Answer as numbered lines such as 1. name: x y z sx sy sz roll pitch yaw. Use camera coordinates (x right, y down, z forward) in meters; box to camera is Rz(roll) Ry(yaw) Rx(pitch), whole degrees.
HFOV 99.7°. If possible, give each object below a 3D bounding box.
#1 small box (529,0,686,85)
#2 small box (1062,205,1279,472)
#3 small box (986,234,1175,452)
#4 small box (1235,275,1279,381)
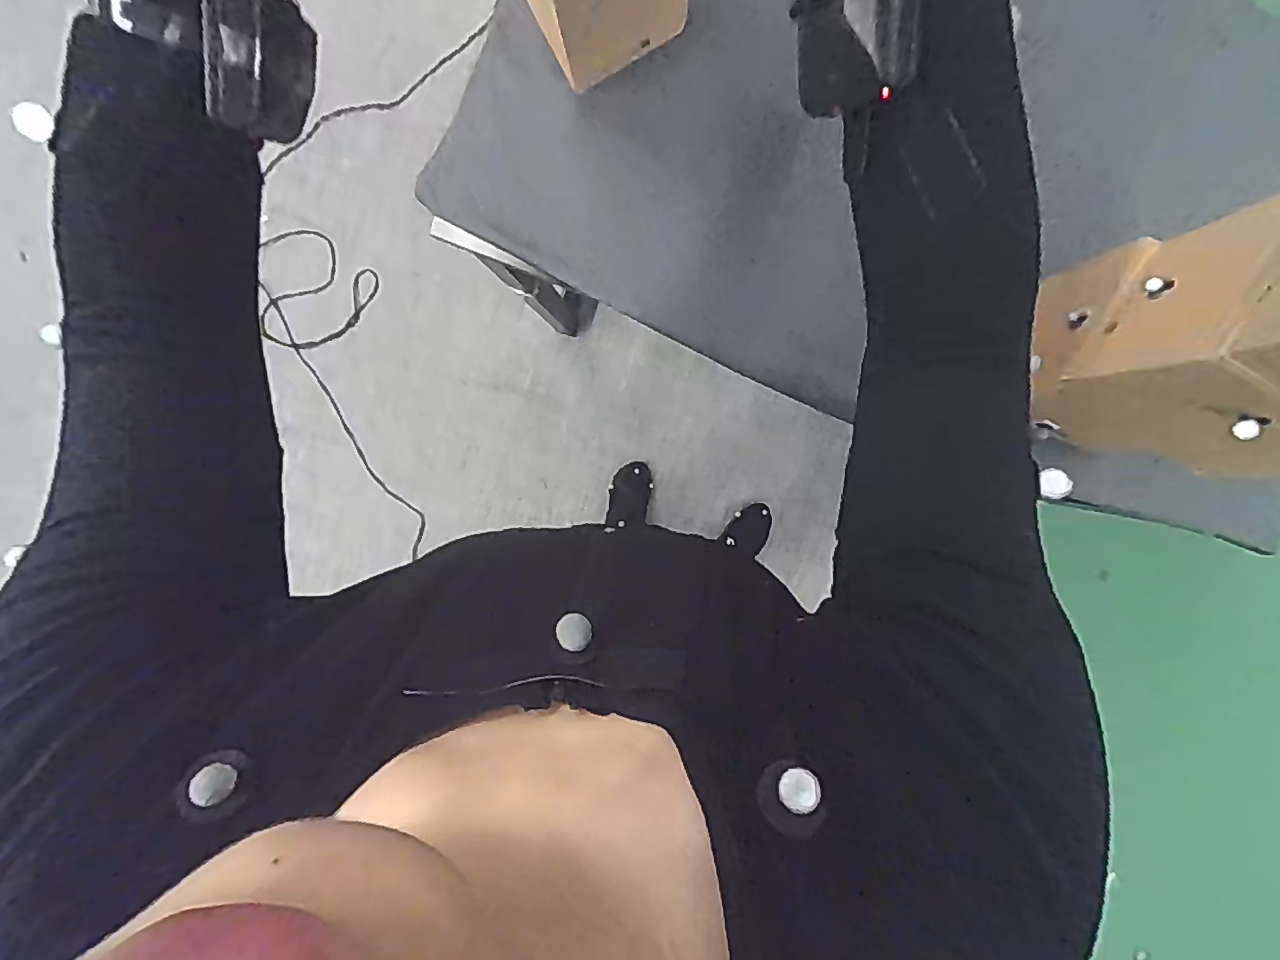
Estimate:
1. small box: -0.056 -0.614 0.615 0.168 0.176 0.179 -28 93 5
2. small box: 0.536 -0.117 0.466 0.179 0.176 0.168 33 95 1
3. small box: 0.549 -0.143 0.626 0.168 0.176 0.179 23 95 2
4. small box: 0.532 -0.107 0.301 0.179 0.176 0.168 35 94 1
